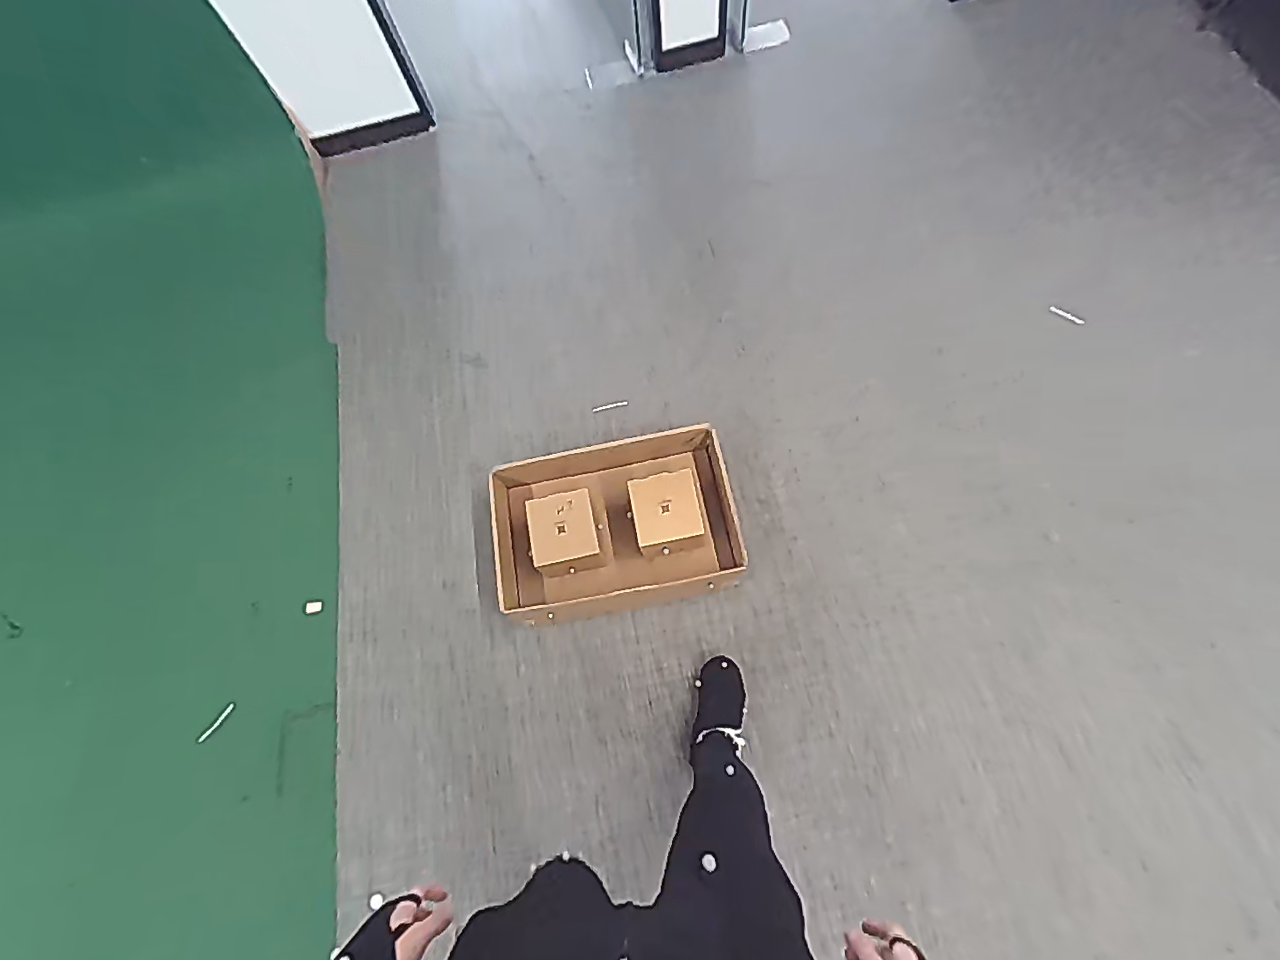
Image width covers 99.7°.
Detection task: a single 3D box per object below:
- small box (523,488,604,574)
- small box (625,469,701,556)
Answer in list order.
[{"bbox_3d":[-0.195,0.140,1.409,0.168,0.176,0.179,-11,69,0],"label":"small box"},{"bbox_3d":[0.063,0.092,1.405,0.168,0.176,0.179,-12,69,2],"label":"small box"}]
